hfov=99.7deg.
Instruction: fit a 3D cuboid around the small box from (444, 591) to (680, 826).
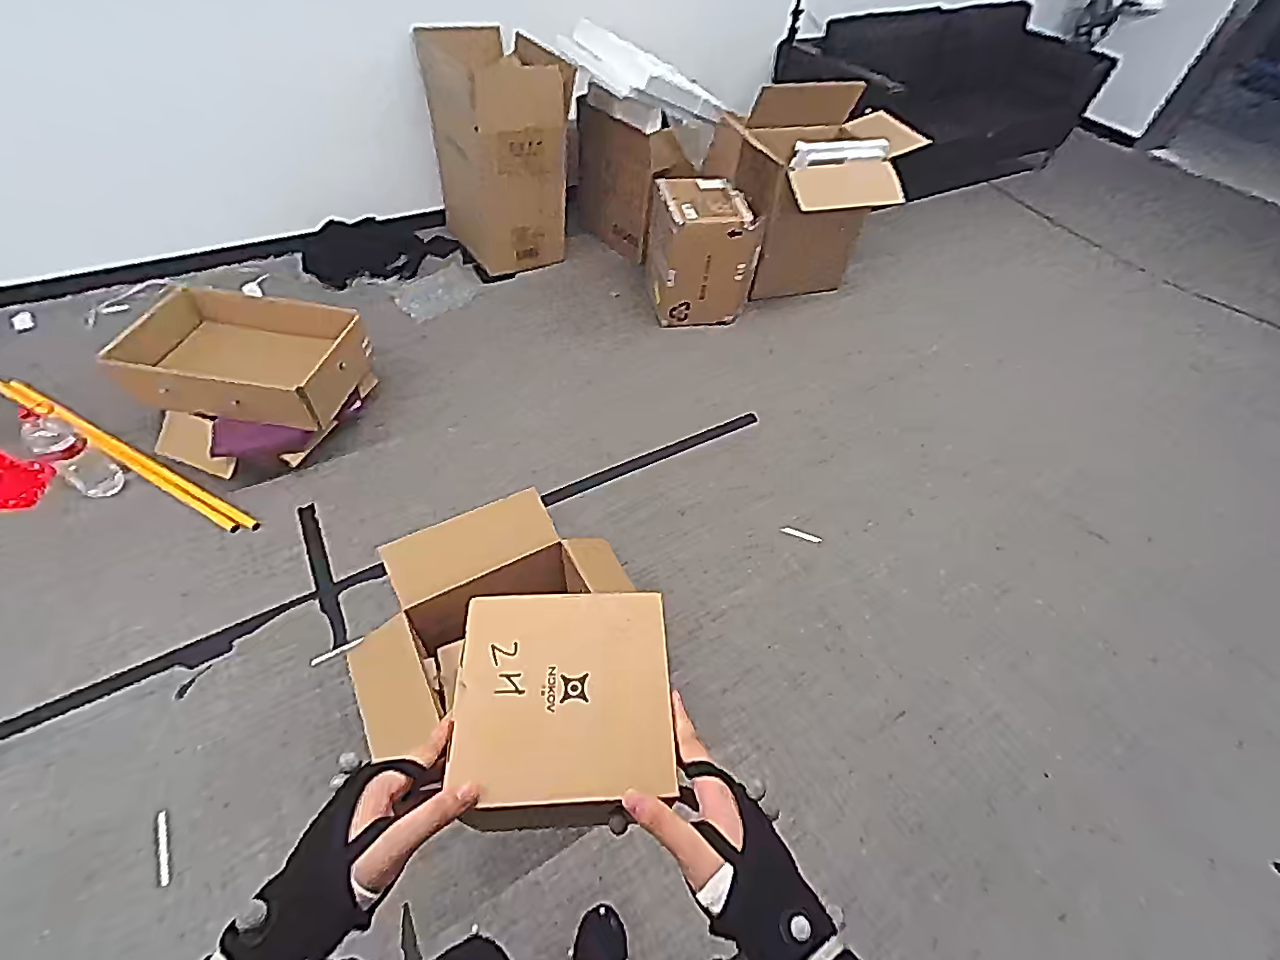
[{"bbox_3d":[-0.064,0.217,0.508,0.179,0.176,0.168,-2,52,-4],"label":"small box"}]
